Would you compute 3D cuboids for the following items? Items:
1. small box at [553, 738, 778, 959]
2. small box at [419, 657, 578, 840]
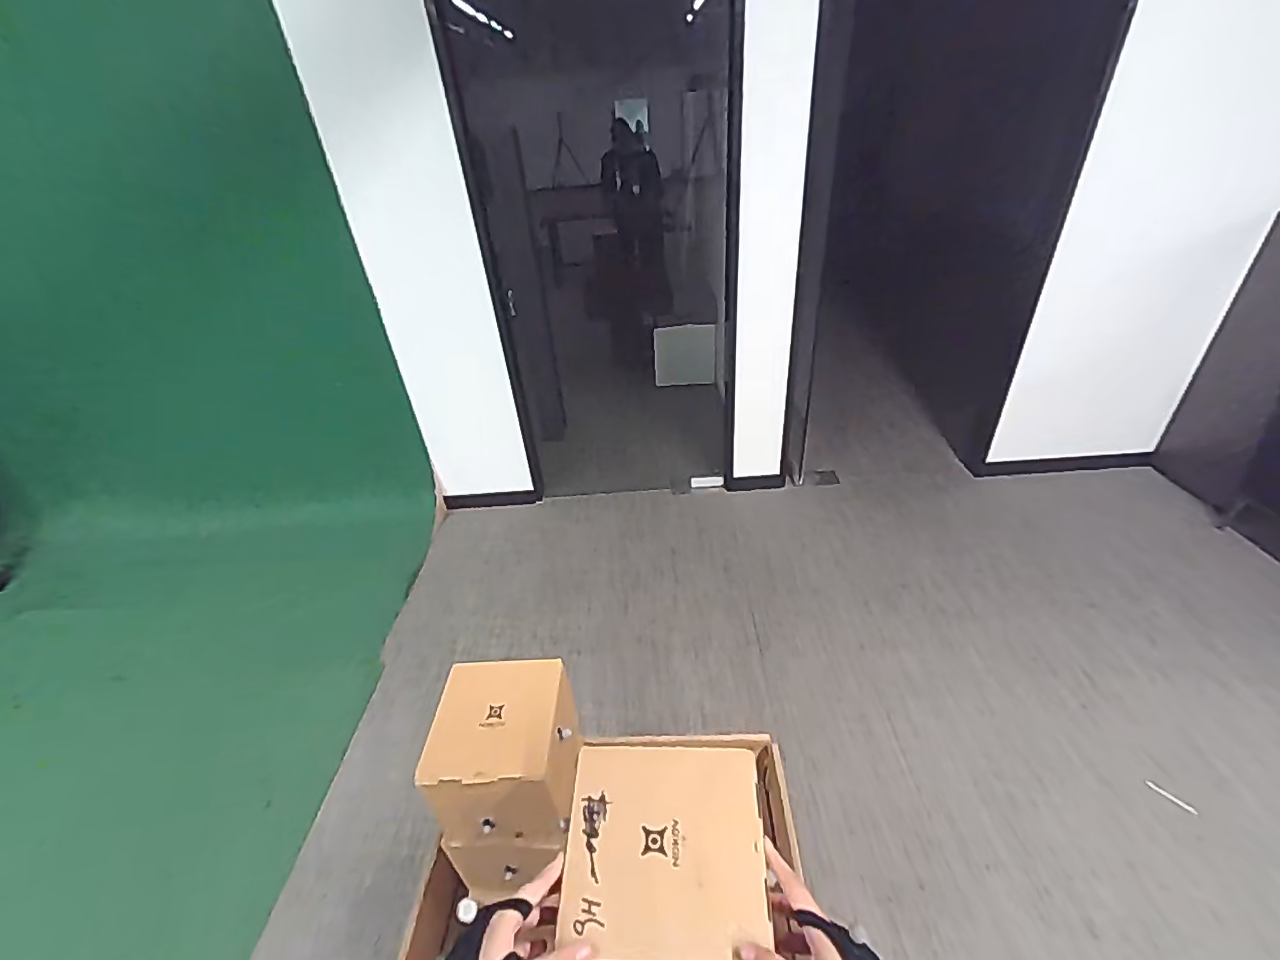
[{"bbox_3d":[0.028,0.373,0.526,0.179,0.176,0.168,-1,40,5],"label":"small box"},{"bbox_3d":[-0.185,0.379,0.770,0.168,0.176,0.179,-4,34,2],"label":"small box"}]
